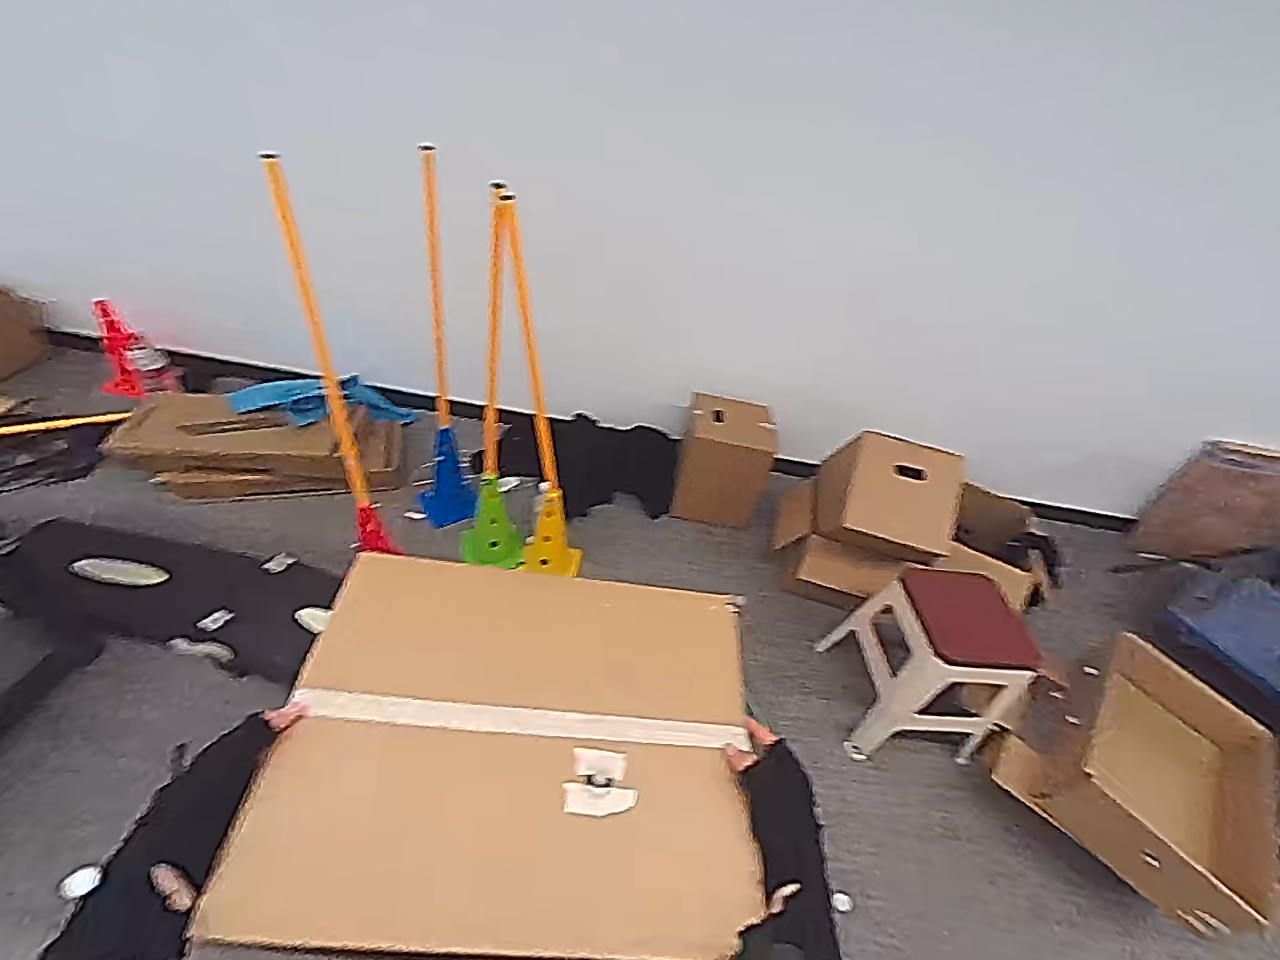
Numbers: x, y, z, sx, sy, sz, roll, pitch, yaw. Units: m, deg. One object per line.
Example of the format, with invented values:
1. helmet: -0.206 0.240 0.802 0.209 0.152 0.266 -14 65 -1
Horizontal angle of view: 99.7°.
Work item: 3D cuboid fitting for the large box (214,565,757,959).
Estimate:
1. large box: -0.128 0.326 0.604 0.408 0.320 0.320 8 47 -7
